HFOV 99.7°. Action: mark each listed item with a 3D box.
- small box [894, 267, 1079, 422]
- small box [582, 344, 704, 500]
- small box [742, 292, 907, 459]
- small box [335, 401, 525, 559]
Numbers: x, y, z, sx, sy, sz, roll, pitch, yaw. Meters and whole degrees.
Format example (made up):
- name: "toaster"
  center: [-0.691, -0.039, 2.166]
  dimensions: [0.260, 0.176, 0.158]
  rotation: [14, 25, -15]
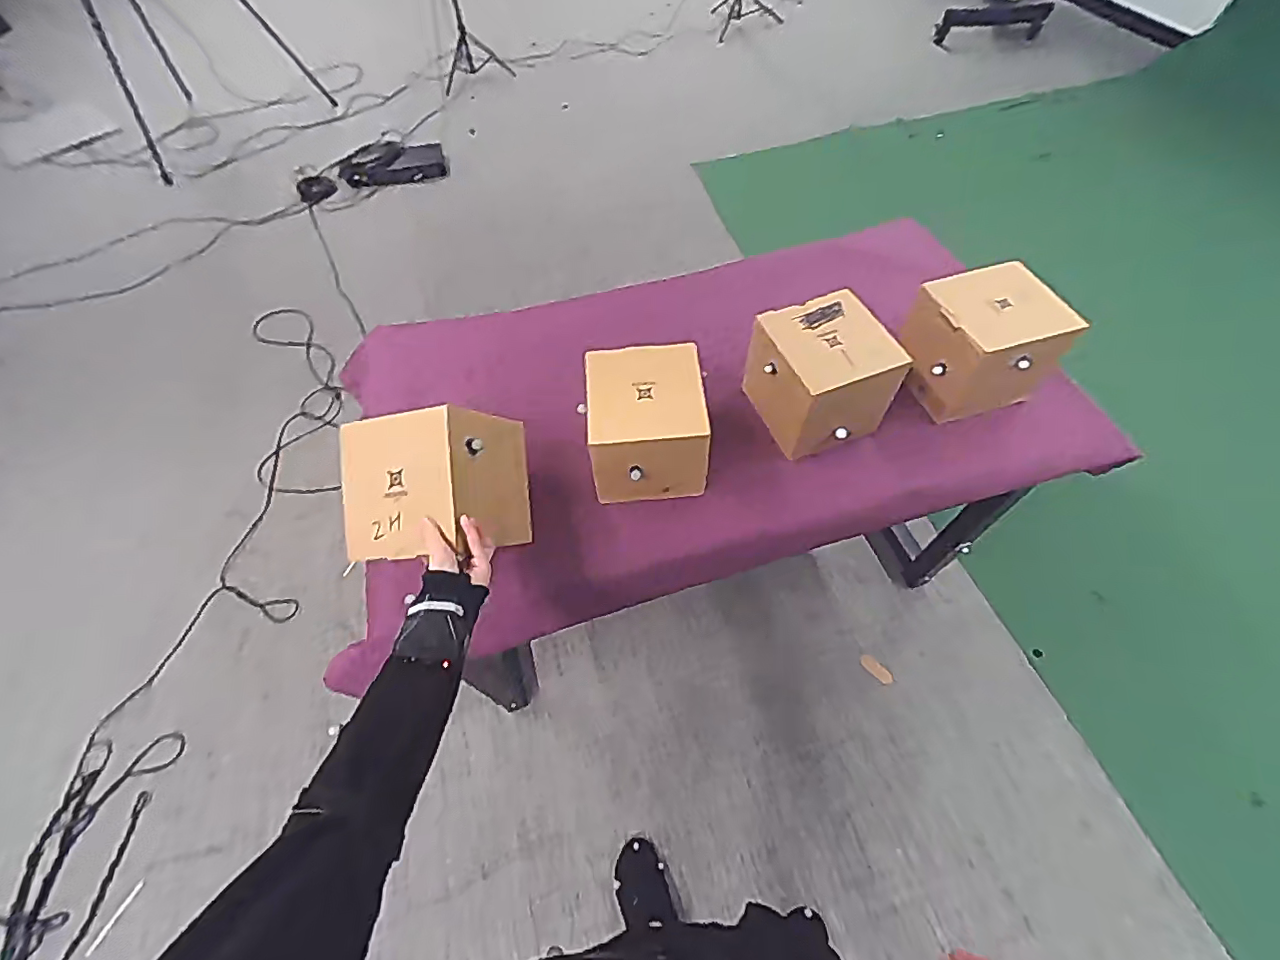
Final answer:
- name: "small box"
  center: [0.545, -0.217, 0.892]
  dimensions: [0.179, 0.176, 0.168]
  rotation: [-14, 57, -7]
- name: "small box"
  center: [0.004, -0.081, 0.827]
  dimensions: [0.168, 0.176, 0.179]
  rotation: [-5, 56, -1]
- name: "small box"
  center: [0.279, -0.164, 0.869]
  dimensions: [0.168, 0.176, 0.179]
  rotation: [-19, 60, -9]
- name: "small box"
  center: [-0.269, 0.005, 0.717]
  dimensions: [0.168, 0.176, 0.179]
  rotation: [-7, 87, 19]
